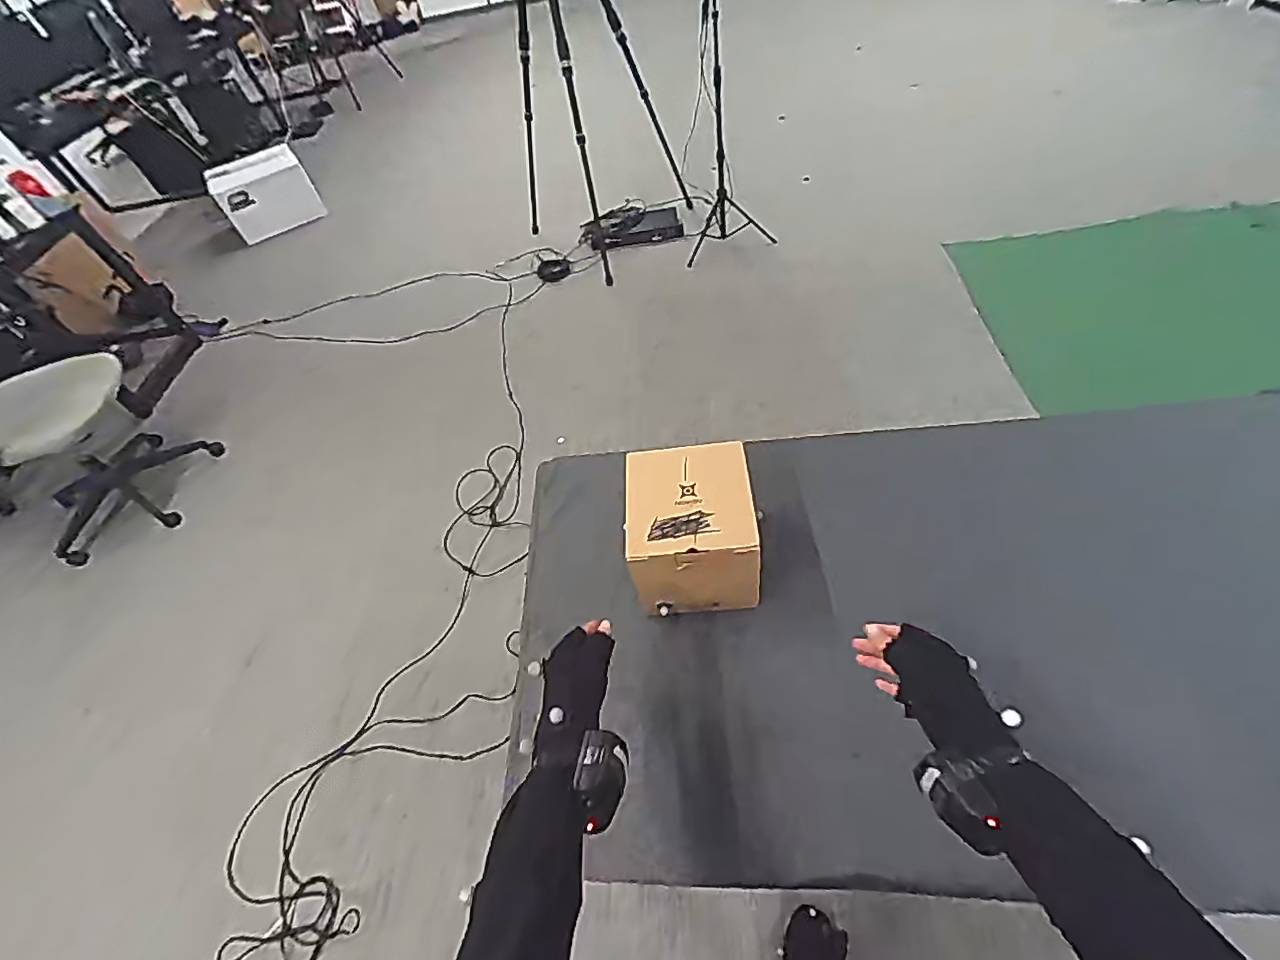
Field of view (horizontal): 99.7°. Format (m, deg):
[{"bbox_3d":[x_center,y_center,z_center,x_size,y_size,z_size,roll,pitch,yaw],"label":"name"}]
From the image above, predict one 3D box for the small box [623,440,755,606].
[{"bbox_3d":[0.072,0.069,0.768,0.168,0.176,0.179,-6,51,6],"label":"small box"}]
